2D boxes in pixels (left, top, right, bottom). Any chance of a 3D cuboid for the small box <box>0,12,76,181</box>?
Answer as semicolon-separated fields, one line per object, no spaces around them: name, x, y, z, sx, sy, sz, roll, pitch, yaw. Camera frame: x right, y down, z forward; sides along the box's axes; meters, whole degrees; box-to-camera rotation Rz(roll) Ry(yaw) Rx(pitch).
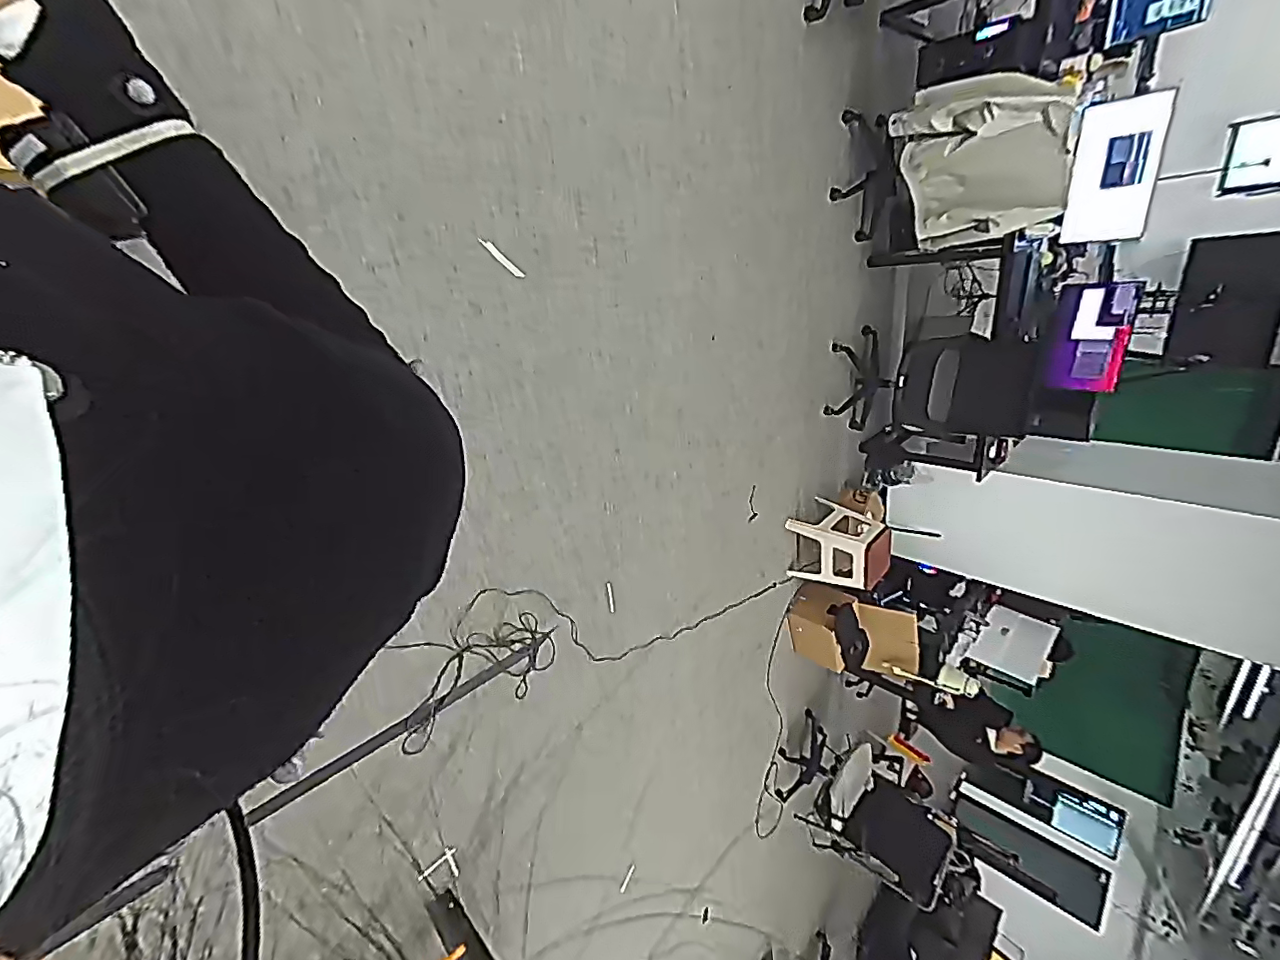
small box;-0.922;-0.512;0.735;0.168;0.176;0.179;-28;121;-36
